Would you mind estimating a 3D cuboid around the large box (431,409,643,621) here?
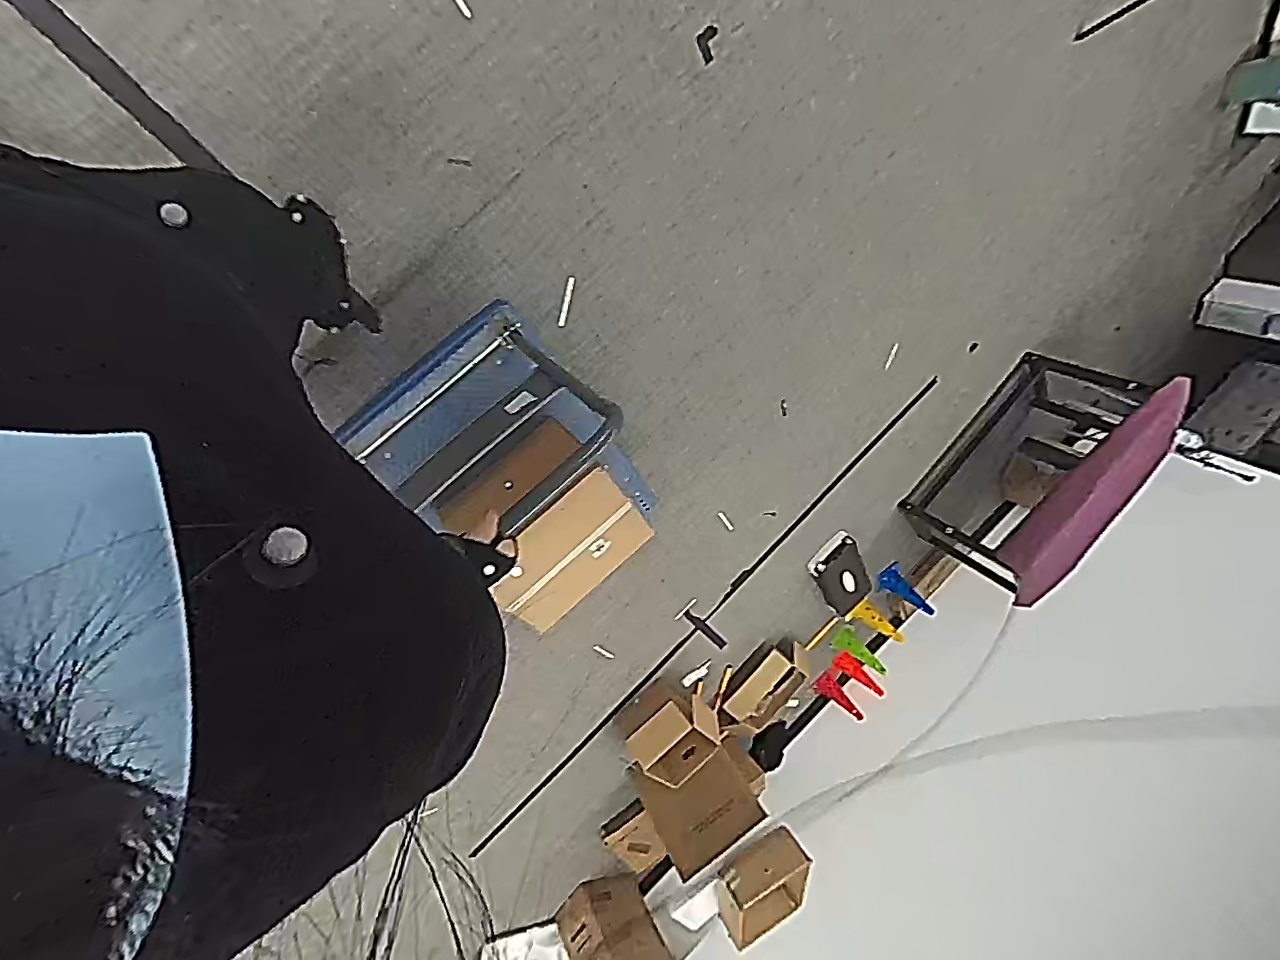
[{"bbox_3d":[-0.276,0.087,1.454,0.408,0.320,0.320,-42,134,-7],"label":"large box"}]
